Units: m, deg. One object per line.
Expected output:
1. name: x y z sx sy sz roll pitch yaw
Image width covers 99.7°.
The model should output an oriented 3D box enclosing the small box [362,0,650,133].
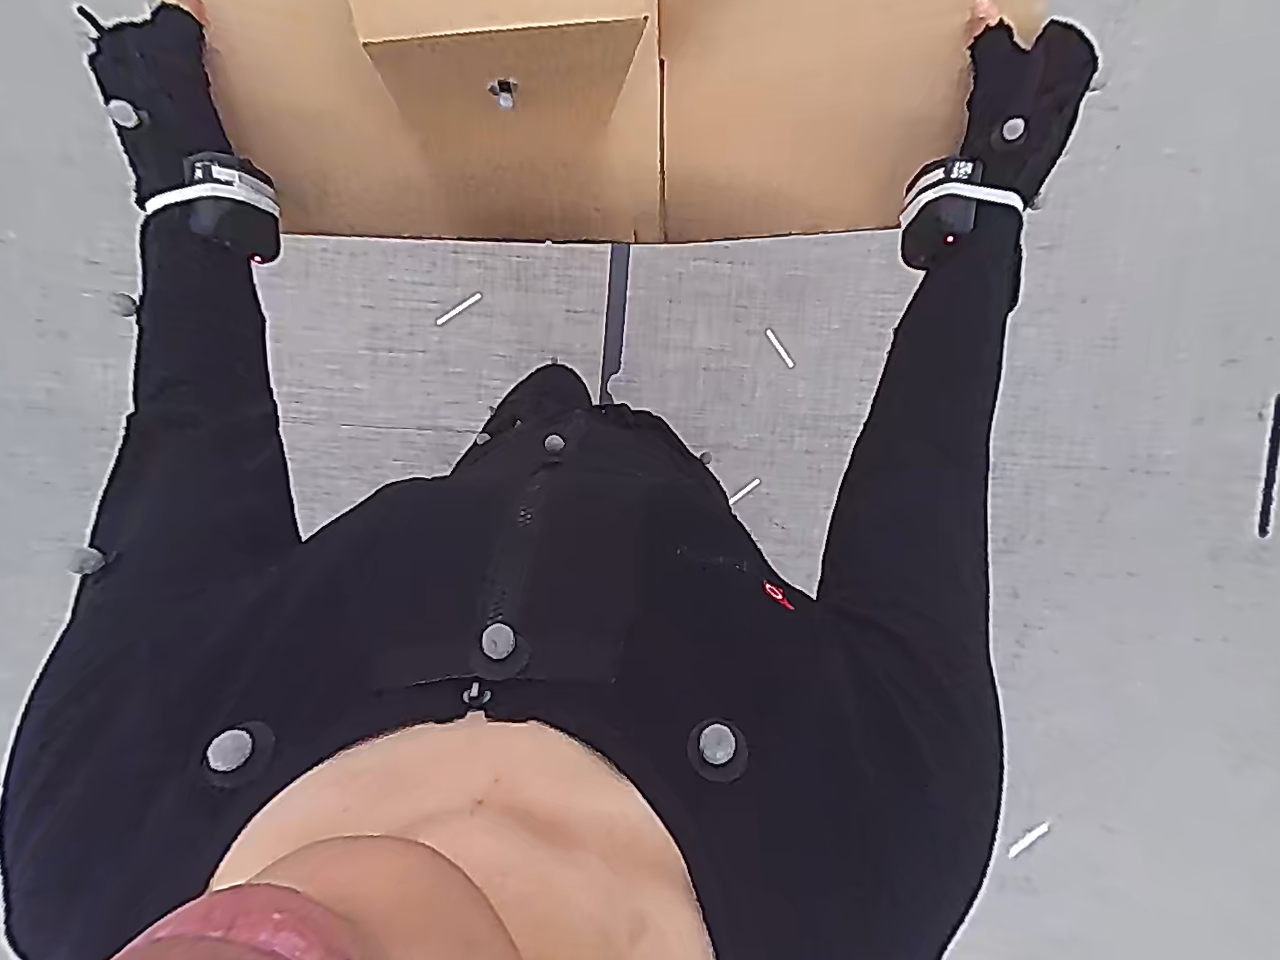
1. small box: -0.104 -0.376 0.387 0.179 0.176 0.168 -12 106 -8
